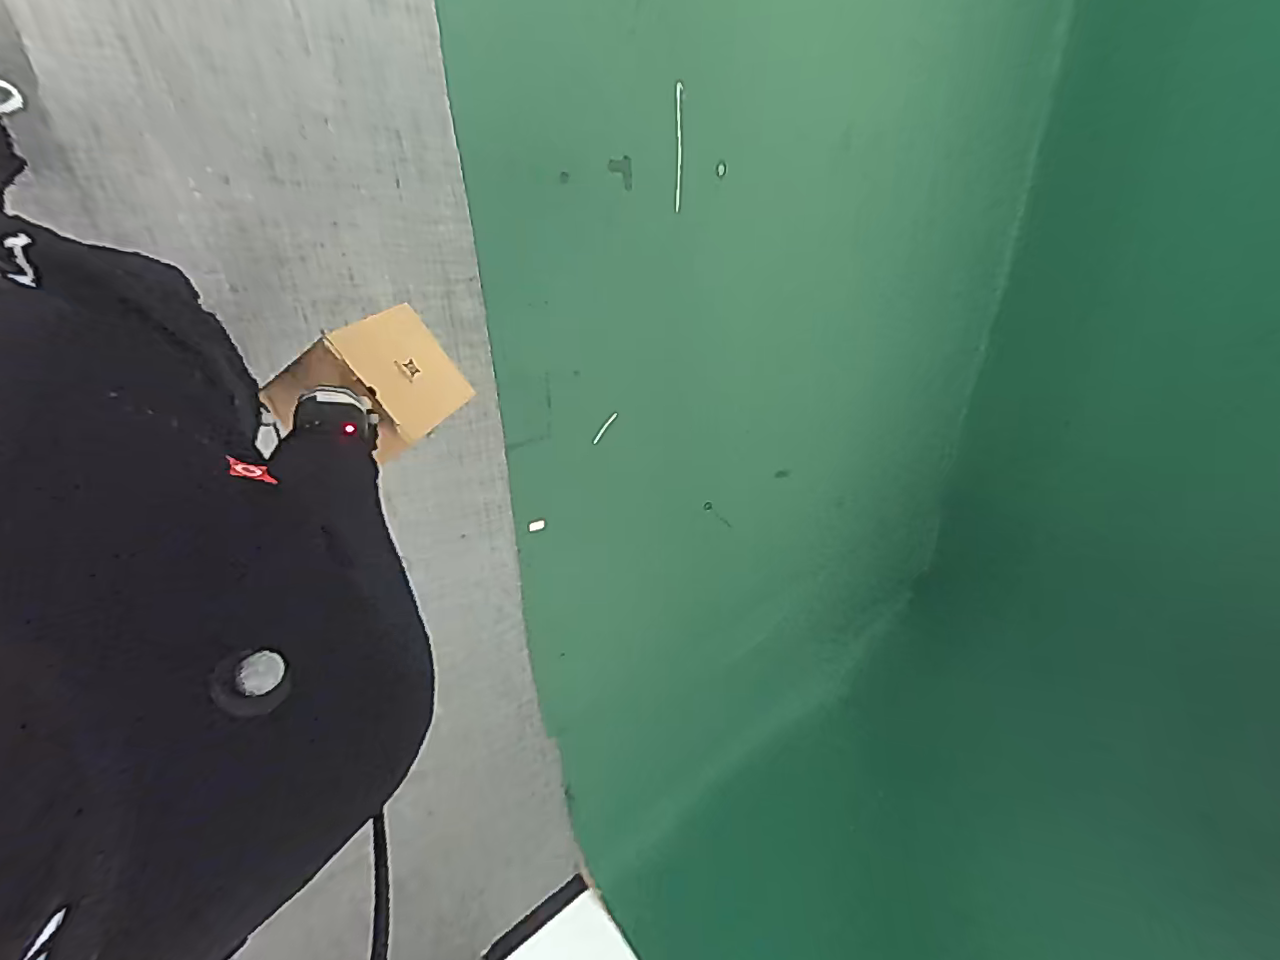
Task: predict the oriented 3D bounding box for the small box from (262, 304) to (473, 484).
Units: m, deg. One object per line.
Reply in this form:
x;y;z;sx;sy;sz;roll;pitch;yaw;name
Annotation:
-0.386;-0.123;0.780;0.168;0.176;0.179;55;28;-20;small box
